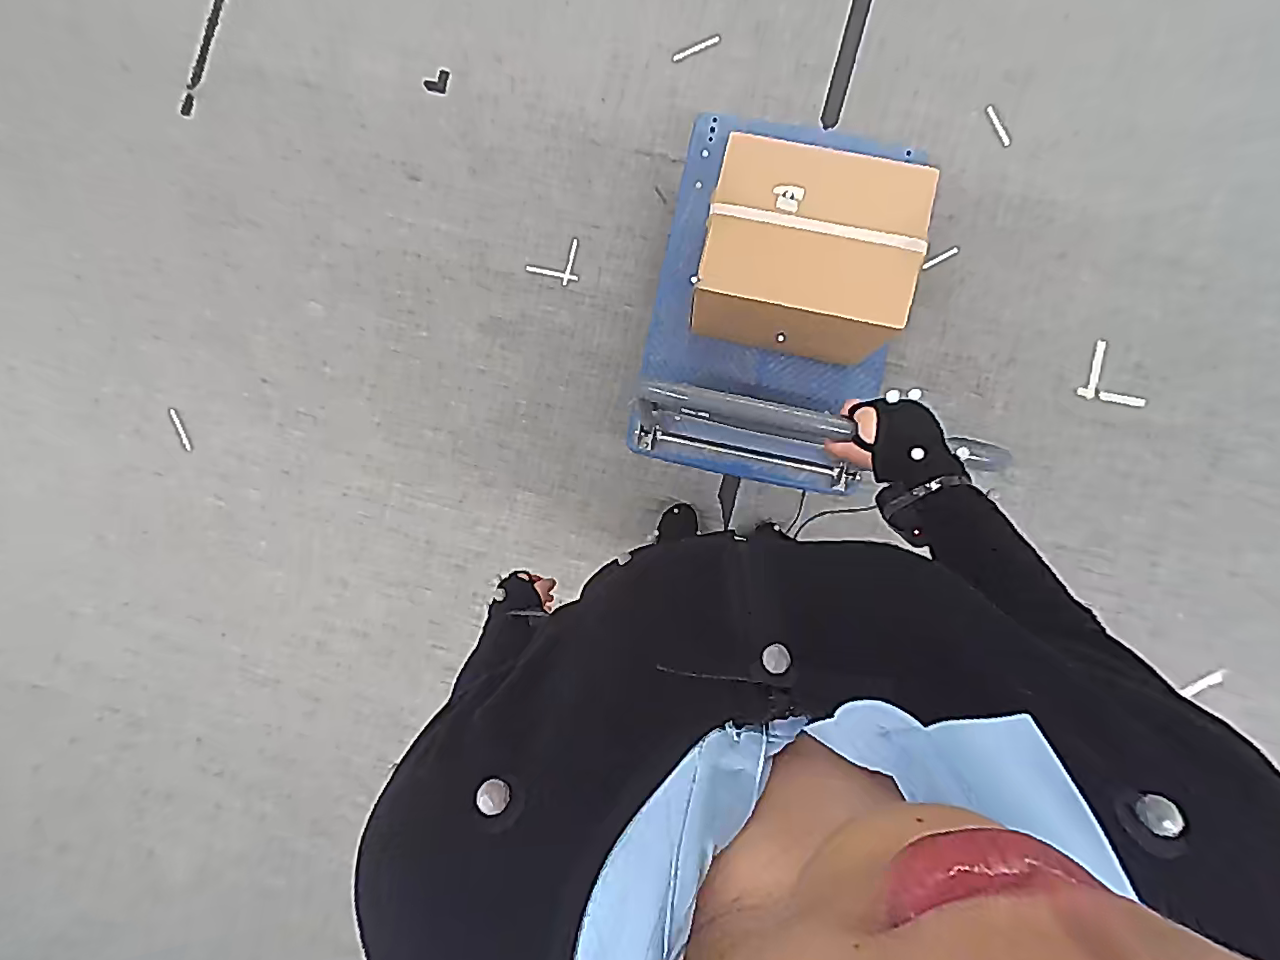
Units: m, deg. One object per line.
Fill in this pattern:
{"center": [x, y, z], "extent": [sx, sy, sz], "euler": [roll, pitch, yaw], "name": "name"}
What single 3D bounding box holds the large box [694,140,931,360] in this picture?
{"center": [0.346, -0.479, 1.191], "extent": [0.408, 0.320, 0.320], "euler": [12, 89, 5], "name": "large box"}
